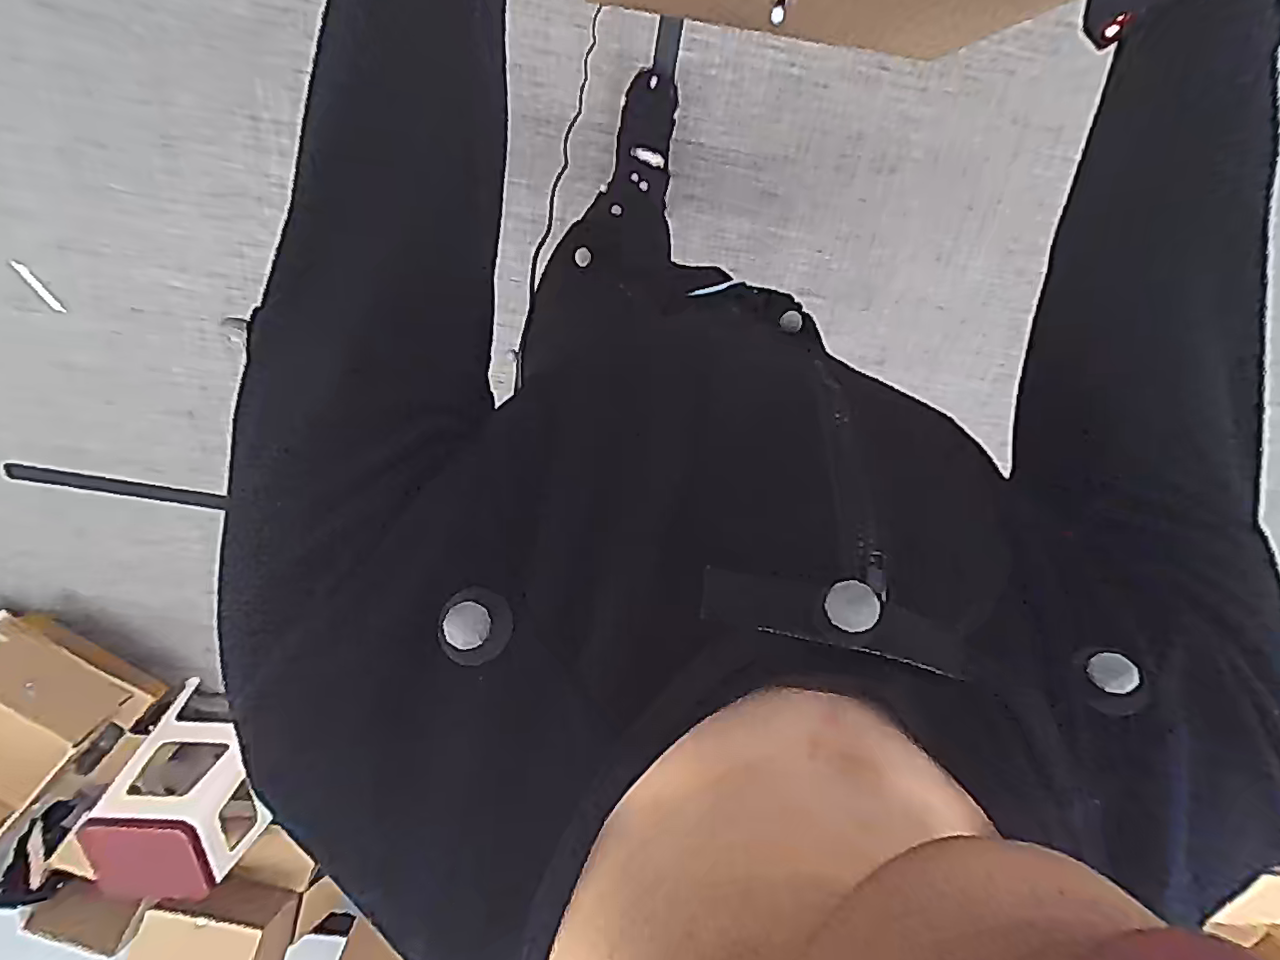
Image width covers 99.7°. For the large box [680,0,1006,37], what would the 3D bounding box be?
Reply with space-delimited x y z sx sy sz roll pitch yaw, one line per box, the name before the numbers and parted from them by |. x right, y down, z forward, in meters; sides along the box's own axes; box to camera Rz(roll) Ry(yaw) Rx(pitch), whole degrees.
large box | 0.148 -0.577 0.403 0.408 0.320 0.320 10 119 0
